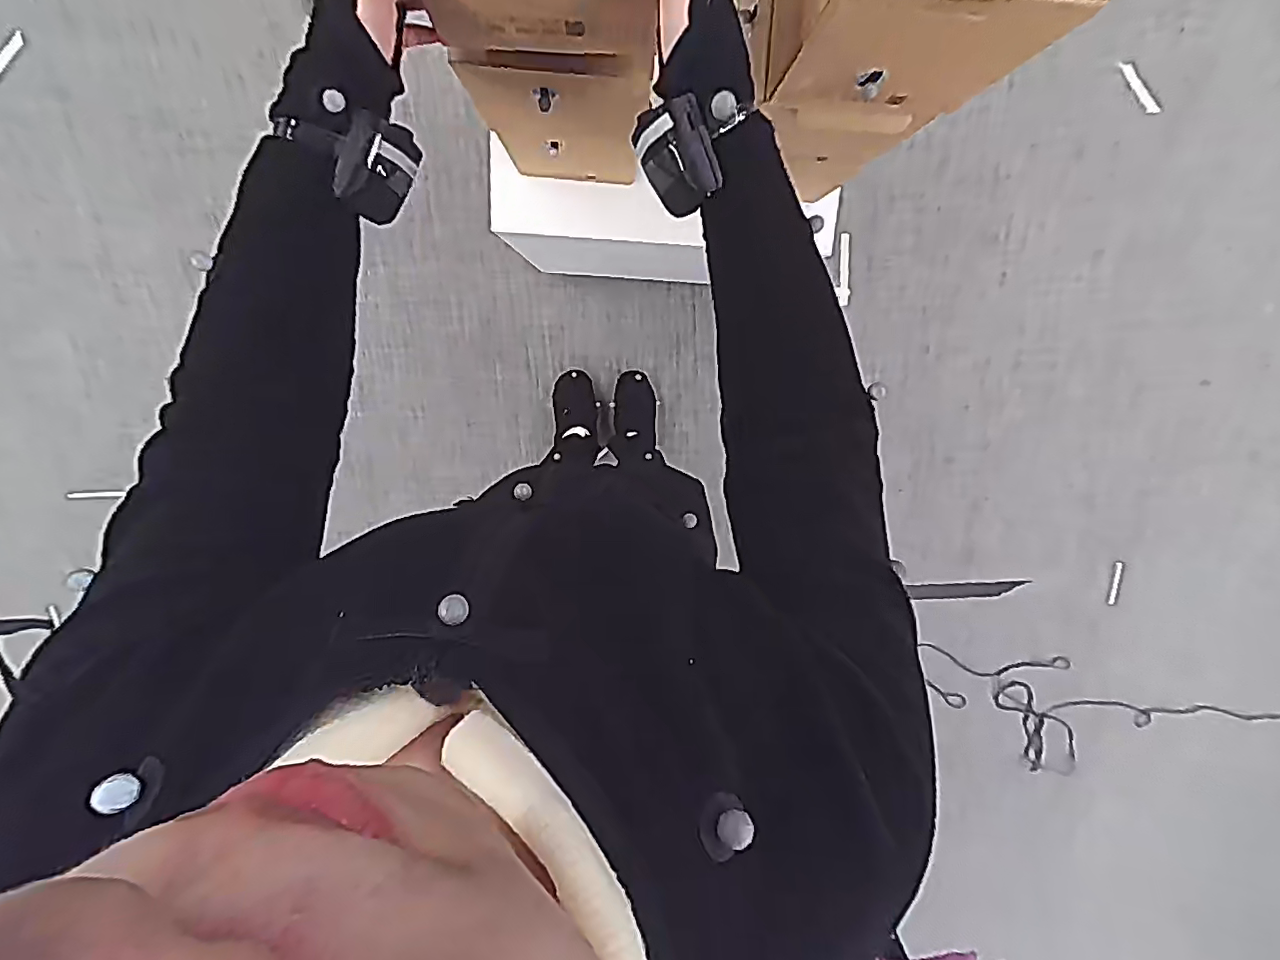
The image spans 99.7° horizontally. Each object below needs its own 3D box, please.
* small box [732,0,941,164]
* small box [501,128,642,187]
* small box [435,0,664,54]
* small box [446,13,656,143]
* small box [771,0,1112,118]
[{"bbox_3d":[0.189,-0.428,0.527,0.168,0.176,0.179,2,104,-2],"label":"small box"},{"bbox_3d":[-0.077,-0.489,0.670,0.168,0.176,0.179,4,104,-4],"label":"small box"},{"bbox_3d":[-0.061,-0.405,0.327,0.168,0.176,0.179,2,95,-2],"label":"small box"},{"bbox_3d":[-0.072,-0.441,0.511,0.179,0.176,0.168,3,106,-4],"label":"small box"},{"bbox_3d":[0.196,-0.384,0.370,0.168,0.176,0.179,1,106,-3],"label":"small box"}]
